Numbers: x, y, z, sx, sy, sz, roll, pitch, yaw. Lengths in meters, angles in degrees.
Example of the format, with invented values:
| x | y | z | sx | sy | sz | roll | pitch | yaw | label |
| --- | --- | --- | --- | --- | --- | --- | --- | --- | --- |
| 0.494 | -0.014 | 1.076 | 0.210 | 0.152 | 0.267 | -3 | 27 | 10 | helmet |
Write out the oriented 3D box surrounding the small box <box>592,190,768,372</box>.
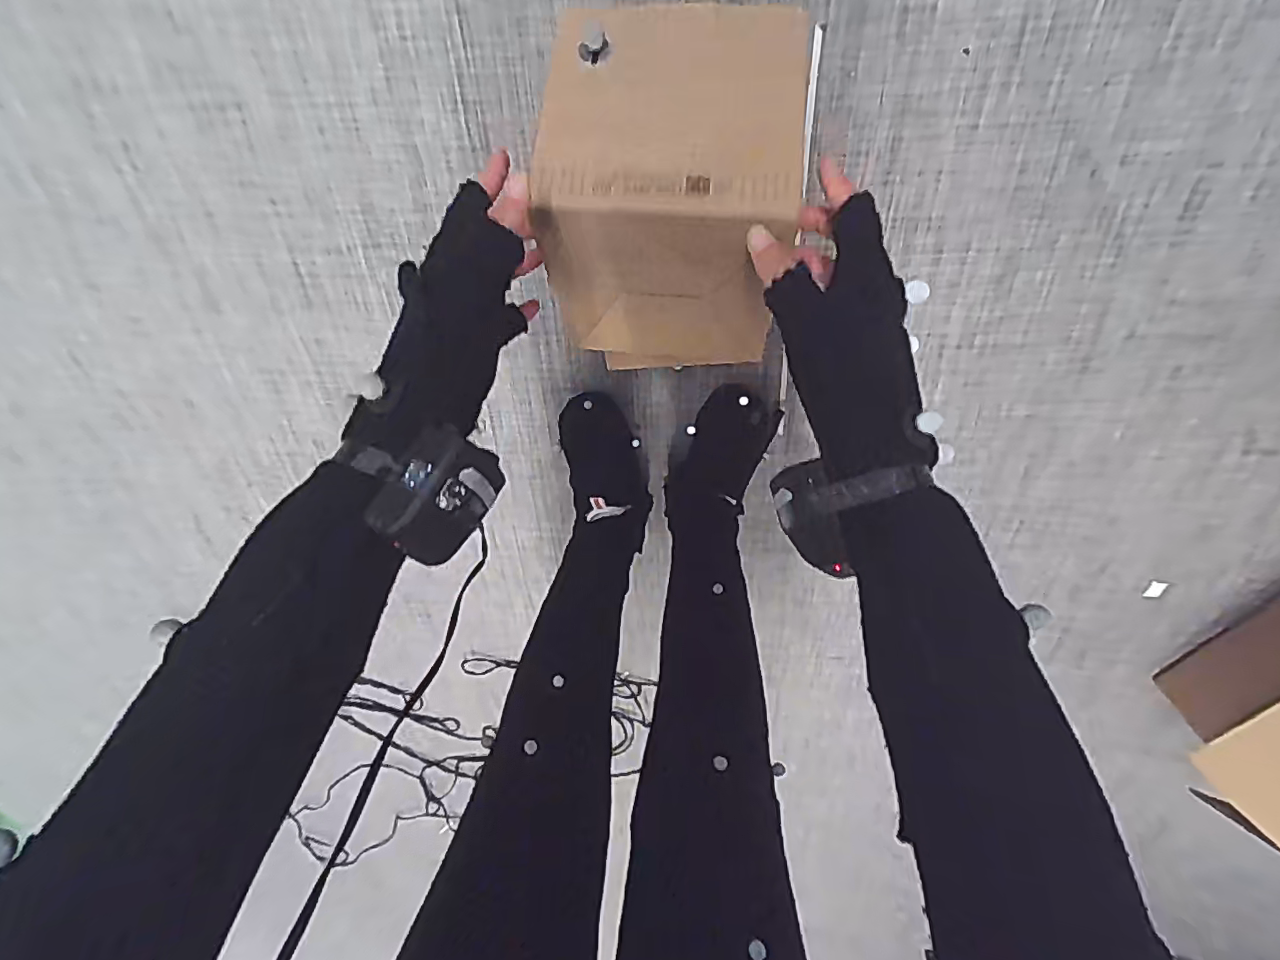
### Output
| x | y | z | sx | sy | sz | roll | pitch | yaw | label |
| --- | --- | --- | --- | --- | --- | --- | --- | --- | --- |
| 0.052 | -0.238 | 0.637 | 0.179 | 0.176 | 0.168 | -1 | 121 | 9 | small box |
